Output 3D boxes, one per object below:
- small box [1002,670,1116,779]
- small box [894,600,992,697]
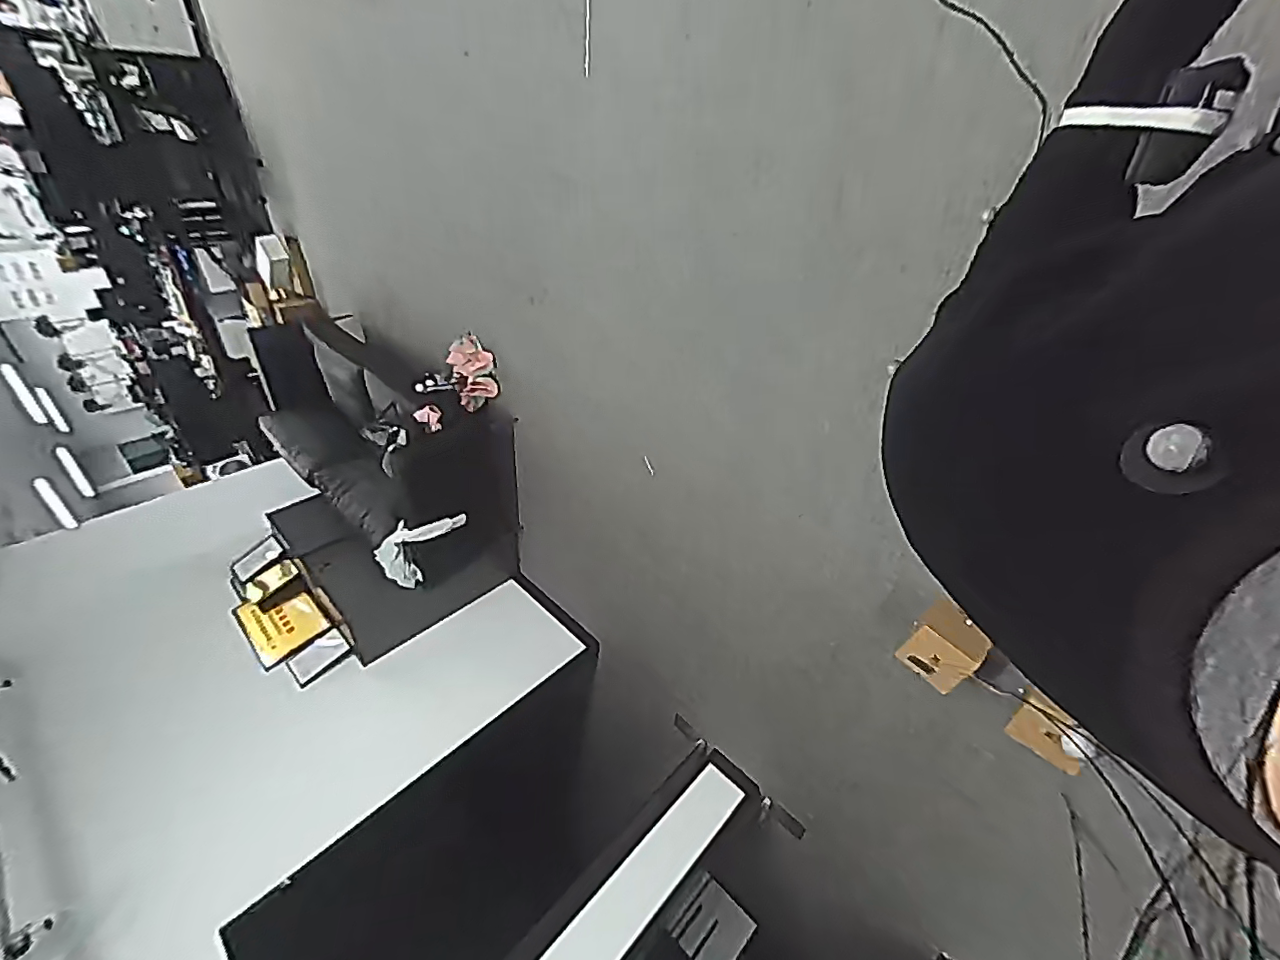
[{"bbox_3d":[1.115,0.638,1.438,0.179,0.176,0.168,31,133,31],"label":"small box"},{"bbox_3d":[0.896,0.494,1.595,0.168,0.176,0.179,39,136,25],"label":"small box"}]
